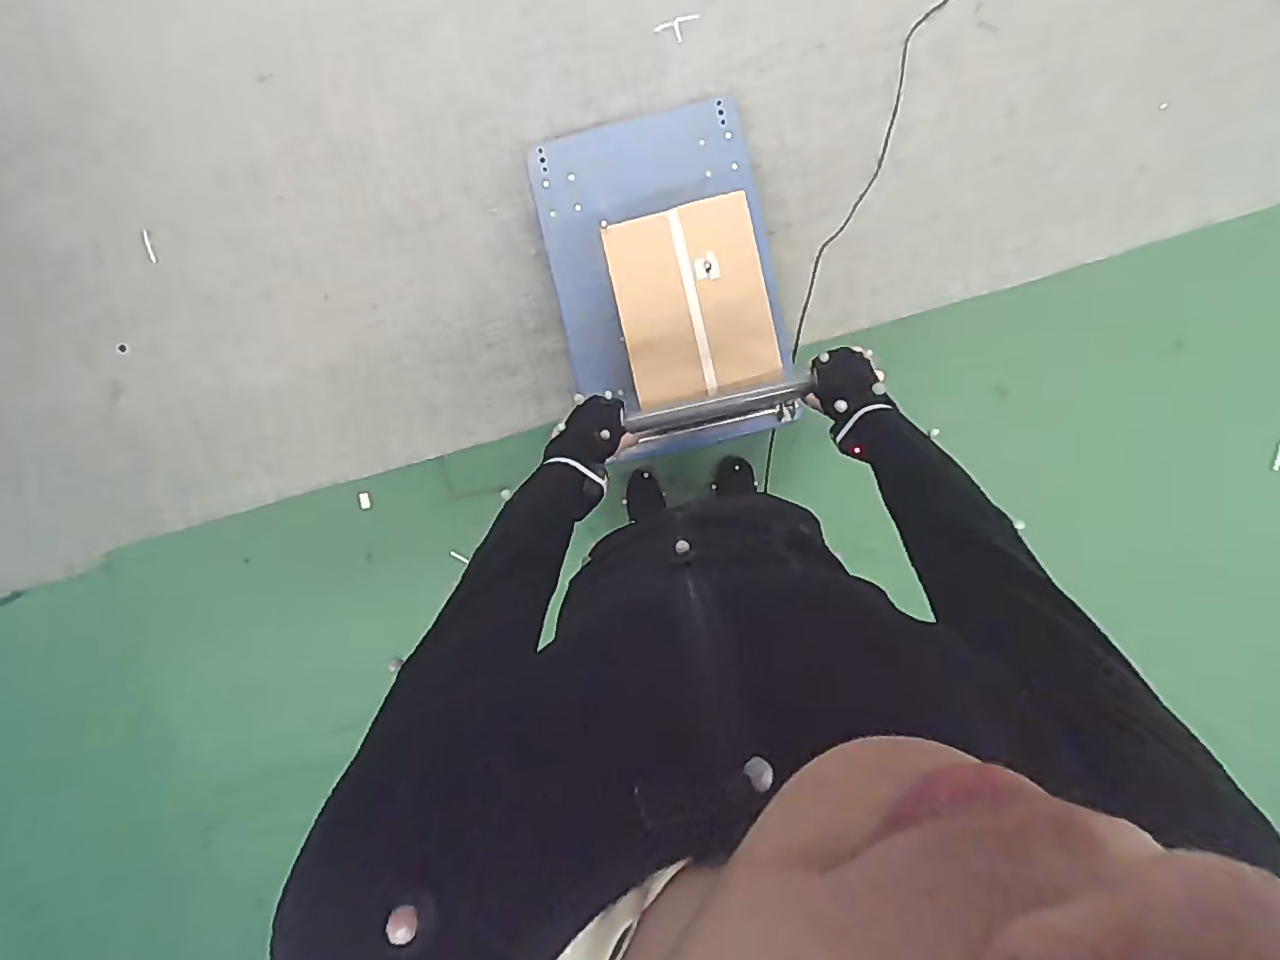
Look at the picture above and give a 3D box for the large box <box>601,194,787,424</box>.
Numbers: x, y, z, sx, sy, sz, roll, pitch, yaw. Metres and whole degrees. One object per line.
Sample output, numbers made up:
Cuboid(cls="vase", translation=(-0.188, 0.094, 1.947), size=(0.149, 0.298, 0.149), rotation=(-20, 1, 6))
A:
Cuboid(cls="large box", translation=(0.123, -0.369, 1.275), size=(0.320, 0.320, 0.408), rotation=(-13, 92, 3))
